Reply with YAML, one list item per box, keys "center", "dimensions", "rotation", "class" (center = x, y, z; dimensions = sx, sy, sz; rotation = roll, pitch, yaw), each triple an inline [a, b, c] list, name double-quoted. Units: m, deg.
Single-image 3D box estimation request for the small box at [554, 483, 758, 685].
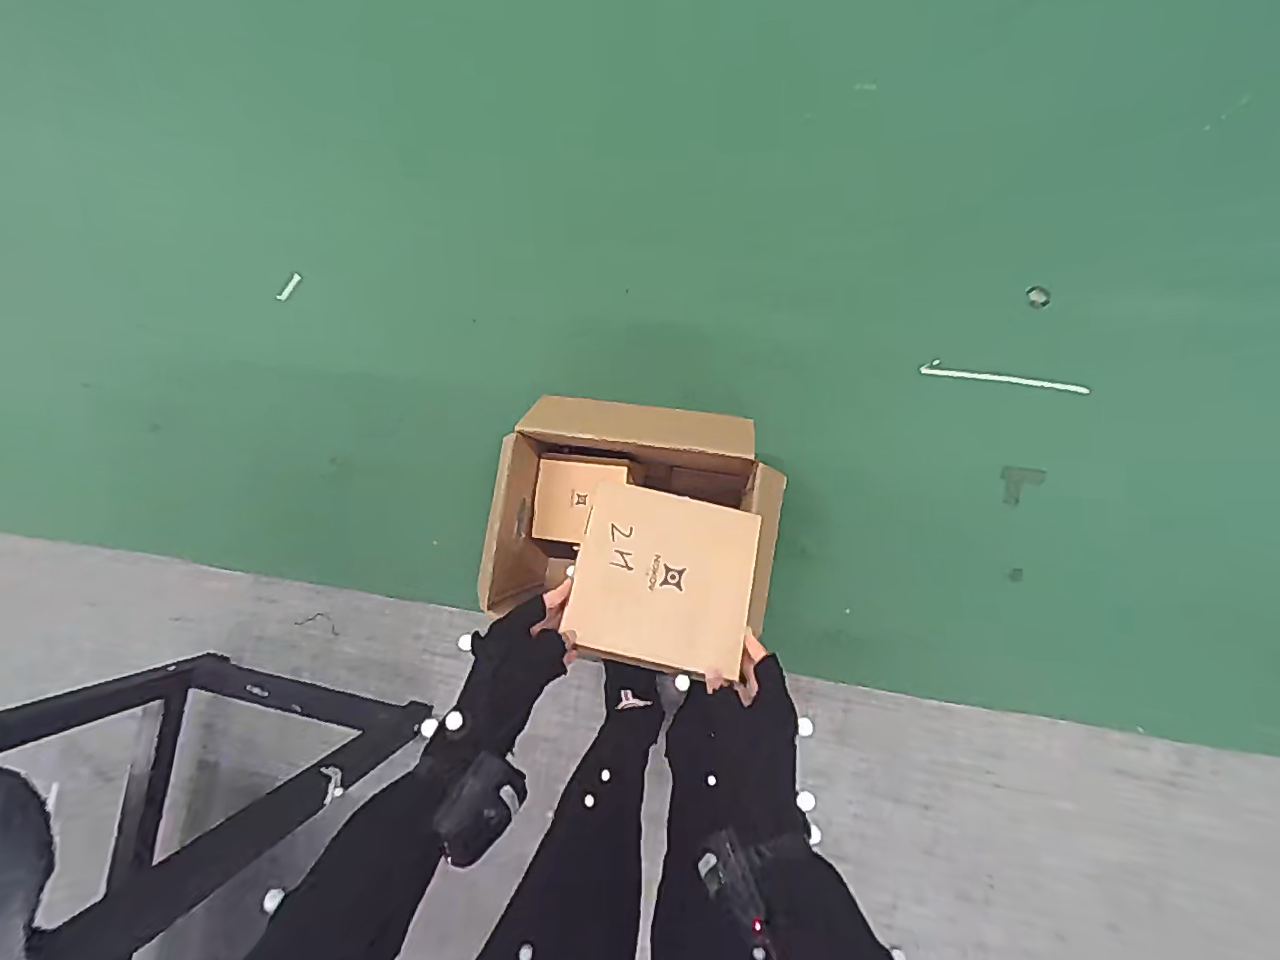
- center: [0.015, 0.123, 0.609]
  dimensions: [0.179, 0.176, 0.168]
  rotation: [14, 69, 1]
  class: "small box"
